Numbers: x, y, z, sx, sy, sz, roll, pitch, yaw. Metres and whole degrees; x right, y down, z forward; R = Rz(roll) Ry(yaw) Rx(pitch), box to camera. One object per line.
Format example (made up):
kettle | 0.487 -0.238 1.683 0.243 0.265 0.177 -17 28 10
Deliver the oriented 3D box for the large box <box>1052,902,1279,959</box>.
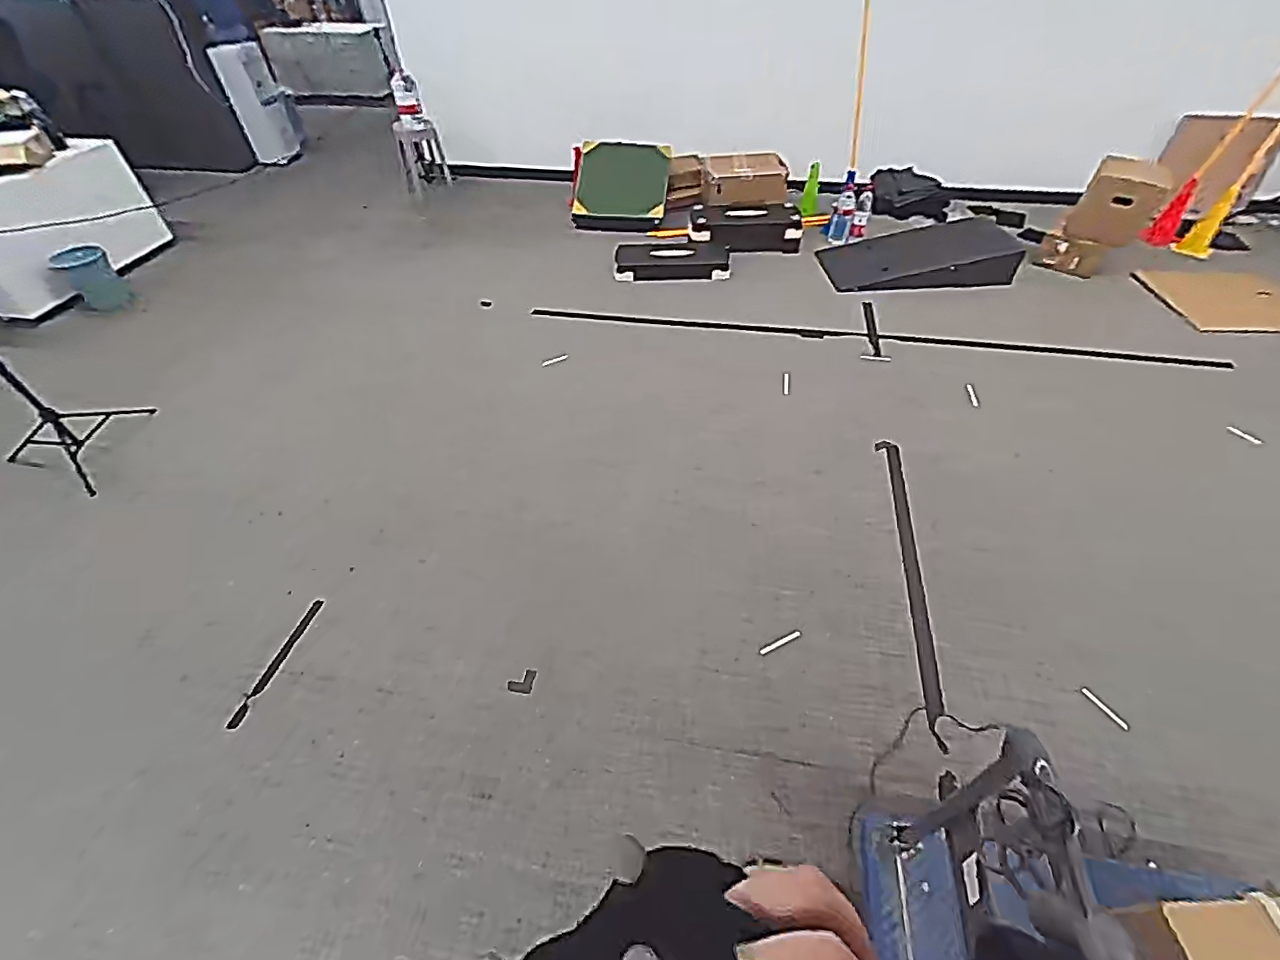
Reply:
large box | 0.920 0.868 0.770 0.320 0.320 0.408 -2 48 0
